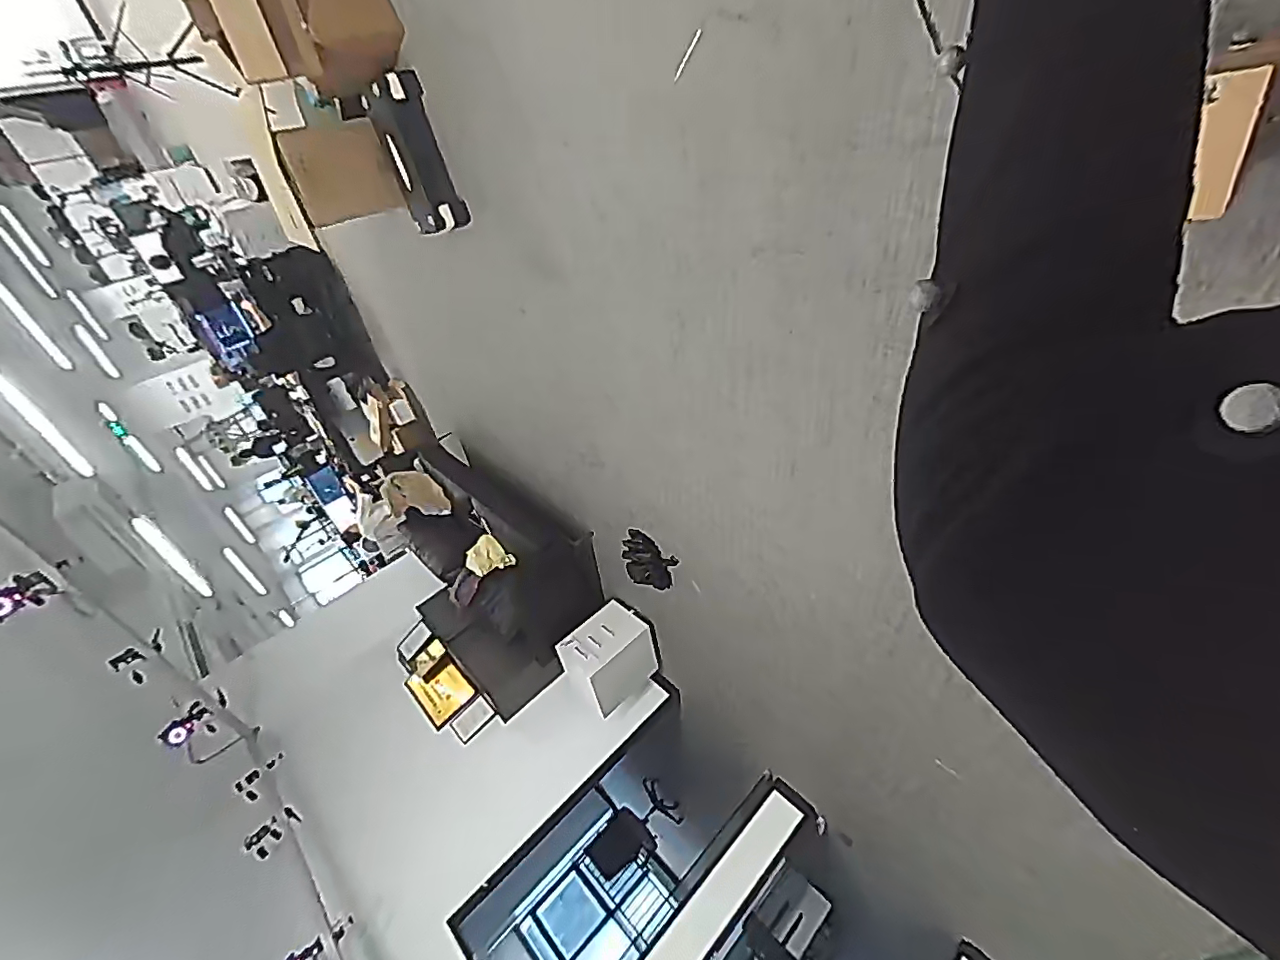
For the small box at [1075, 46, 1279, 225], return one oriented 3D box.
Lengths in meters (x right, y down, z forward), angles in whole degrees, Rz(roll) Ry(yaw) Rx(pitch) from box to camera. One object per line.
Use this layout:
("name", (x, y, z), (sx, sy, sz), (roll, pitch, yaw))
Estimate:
("small box", (0.774, -0.492, 0.786), (0.168, 0.176, 0.179), (21, 137, 46))
